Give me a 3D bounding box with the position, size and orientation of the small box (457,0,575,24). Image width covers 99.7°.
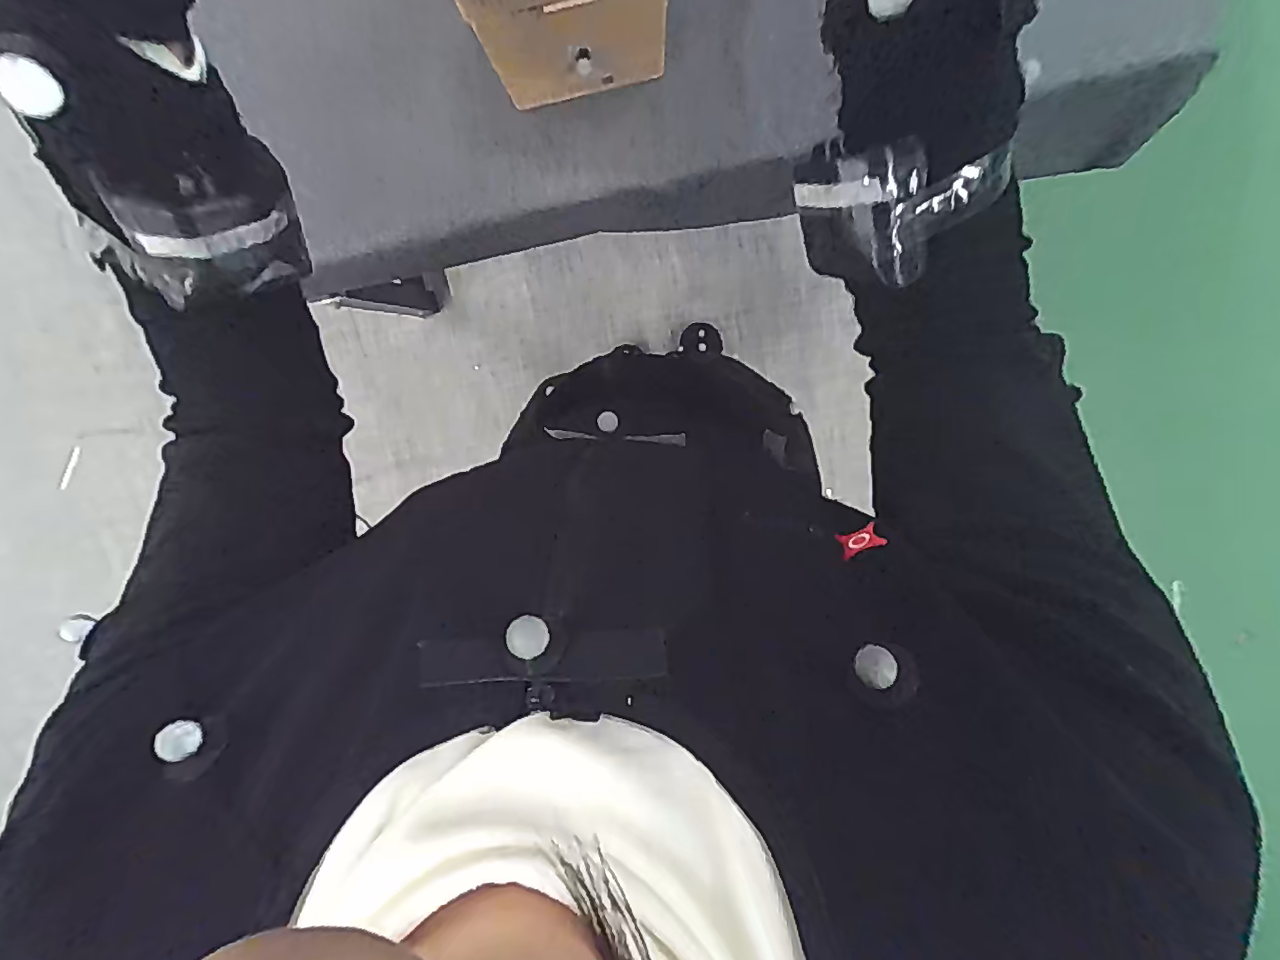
[{"bbox_3d":[-0.071,-0.439,0.335,0.179,0.176,0.168,-13,103,3],"label":"small box"}]

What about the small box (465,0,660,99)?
[{"bbox_3d":[-0.074,-0.484,0.493,0.168,0.176,0.179,-11,103,4],"label":"small box"}]
